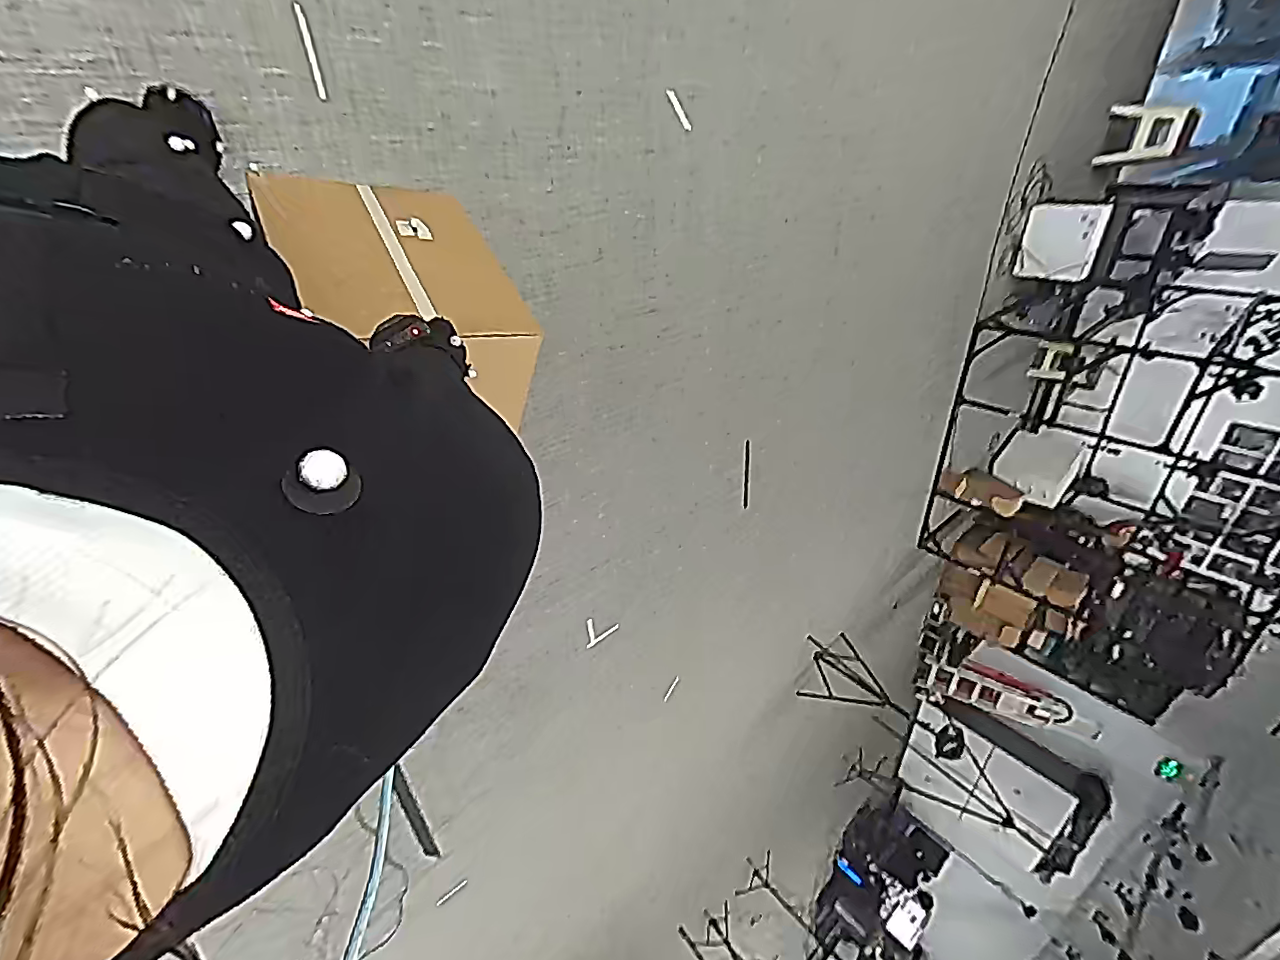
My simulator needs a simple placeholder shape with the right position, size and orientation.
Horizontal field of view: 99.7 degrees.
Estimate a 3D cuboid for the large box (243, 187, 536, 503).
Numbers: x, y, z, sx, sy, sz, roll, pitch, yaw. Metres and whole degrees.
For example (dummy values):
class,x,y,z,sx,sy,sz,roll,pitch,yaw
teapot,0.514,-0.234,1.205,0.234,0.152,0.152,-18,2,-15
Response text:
class,x,y,z,sx,sy,sz,roll,pitch,yaw
large box,-0.424,-0.229,0.911,0.320,0.408,0.320,-13,145,-36
